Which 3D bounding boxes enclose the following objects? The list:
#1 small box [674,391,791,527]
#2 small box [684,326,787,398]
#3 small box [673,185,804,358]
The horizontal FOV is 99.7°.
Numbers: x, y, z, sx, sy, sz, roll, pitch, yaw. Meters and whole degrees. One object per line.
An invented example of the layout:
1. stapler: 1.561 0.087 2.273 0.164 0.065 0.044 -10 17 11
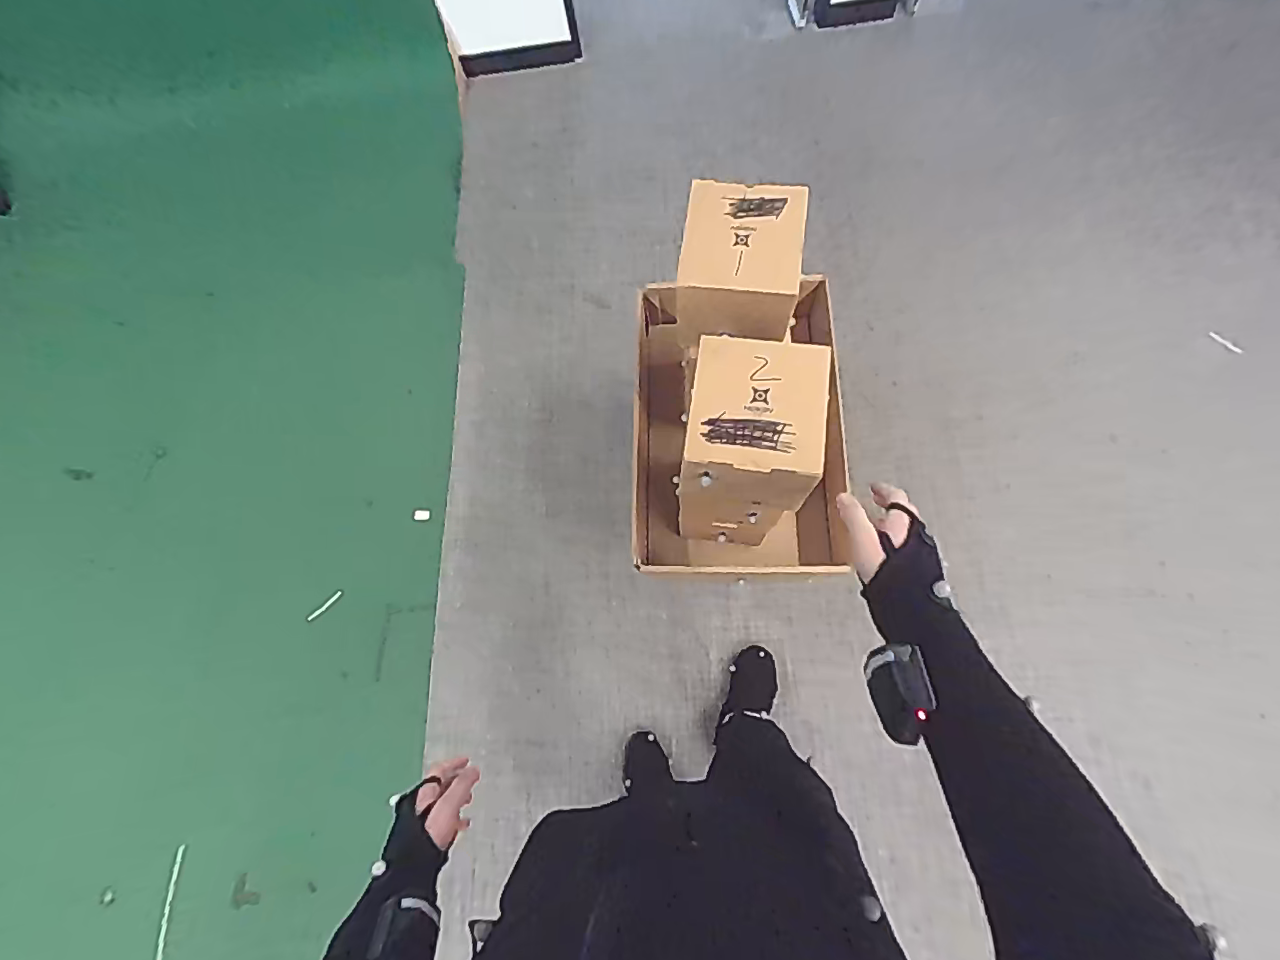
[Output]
1. small box: 0.151 -0.028 0.904 0.168 0.176 0.179 6 73 7
2. small box: 0.163 -0.260 0.979 0.168 0.176 0.179 -2 75 4
3. small box: 0.143 -0.310 0.824 0.168 0.176 0.179 8 76 7
